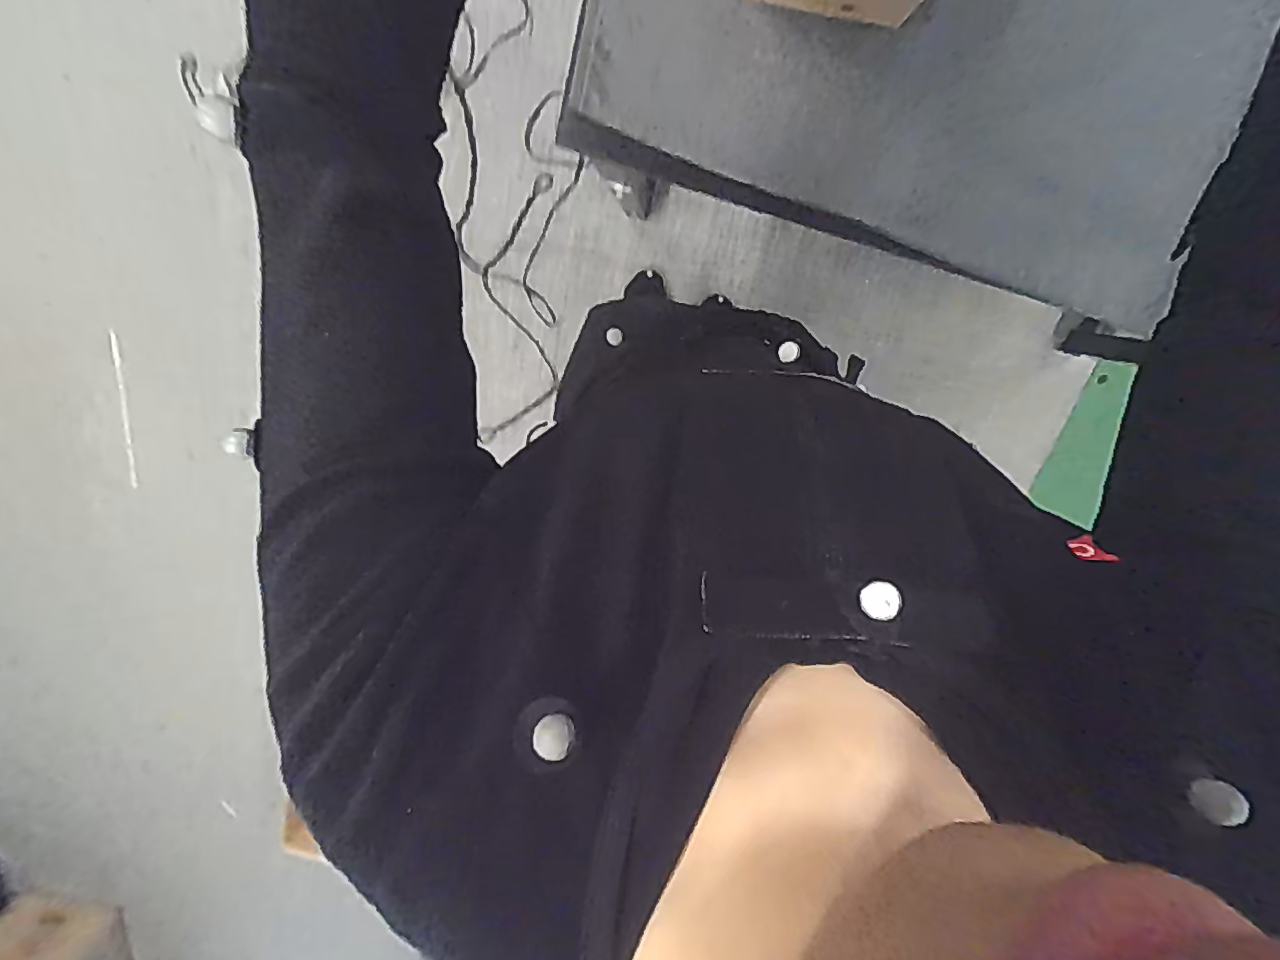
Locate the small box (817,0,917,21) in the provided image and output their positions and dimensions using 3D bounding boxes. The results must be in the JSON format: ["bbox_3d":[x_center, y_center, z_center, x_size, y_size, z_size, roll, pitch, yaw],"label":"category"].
[{"bbox_3d":[0.201,-0.532,0.450,0.168,0.176,0.179,11,109,-2],"label":"small box"}]
